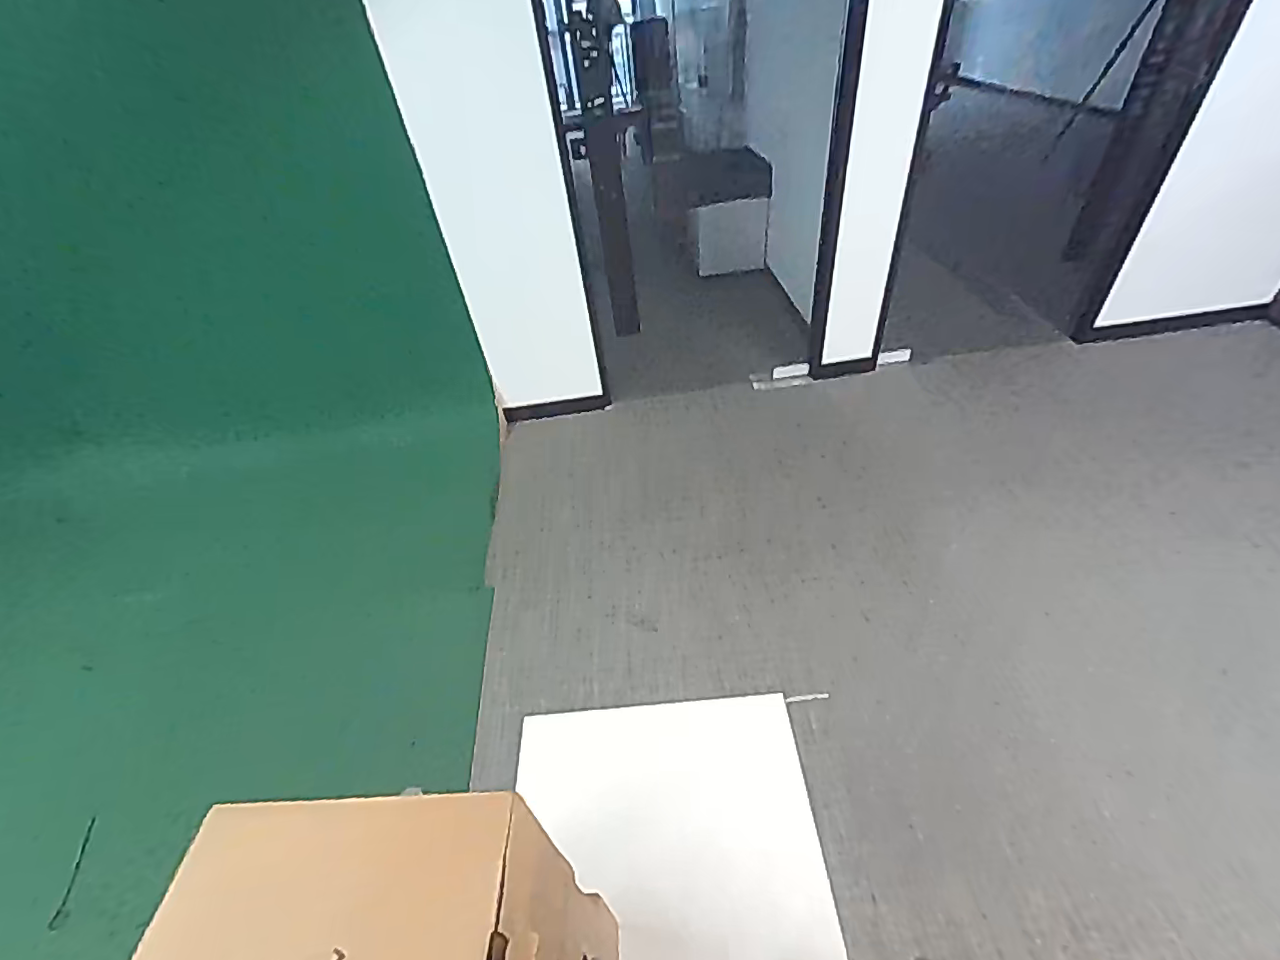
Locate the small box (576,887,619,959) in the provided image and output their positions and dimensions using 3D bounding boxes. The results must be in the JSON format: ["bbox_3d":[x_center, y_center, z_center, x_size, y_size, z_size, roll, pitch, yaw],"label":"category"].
[{"bbox_3d":[-0.110,0.519,0.520,0.168,0.176,0.179,-4,42,2],"label":"small box"}]

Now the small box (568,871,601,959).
[{"bbox_3d":[-0.124,0.410,0.400,0.179,0.176,0.168,-7,41,2],"label":"small box"}]
